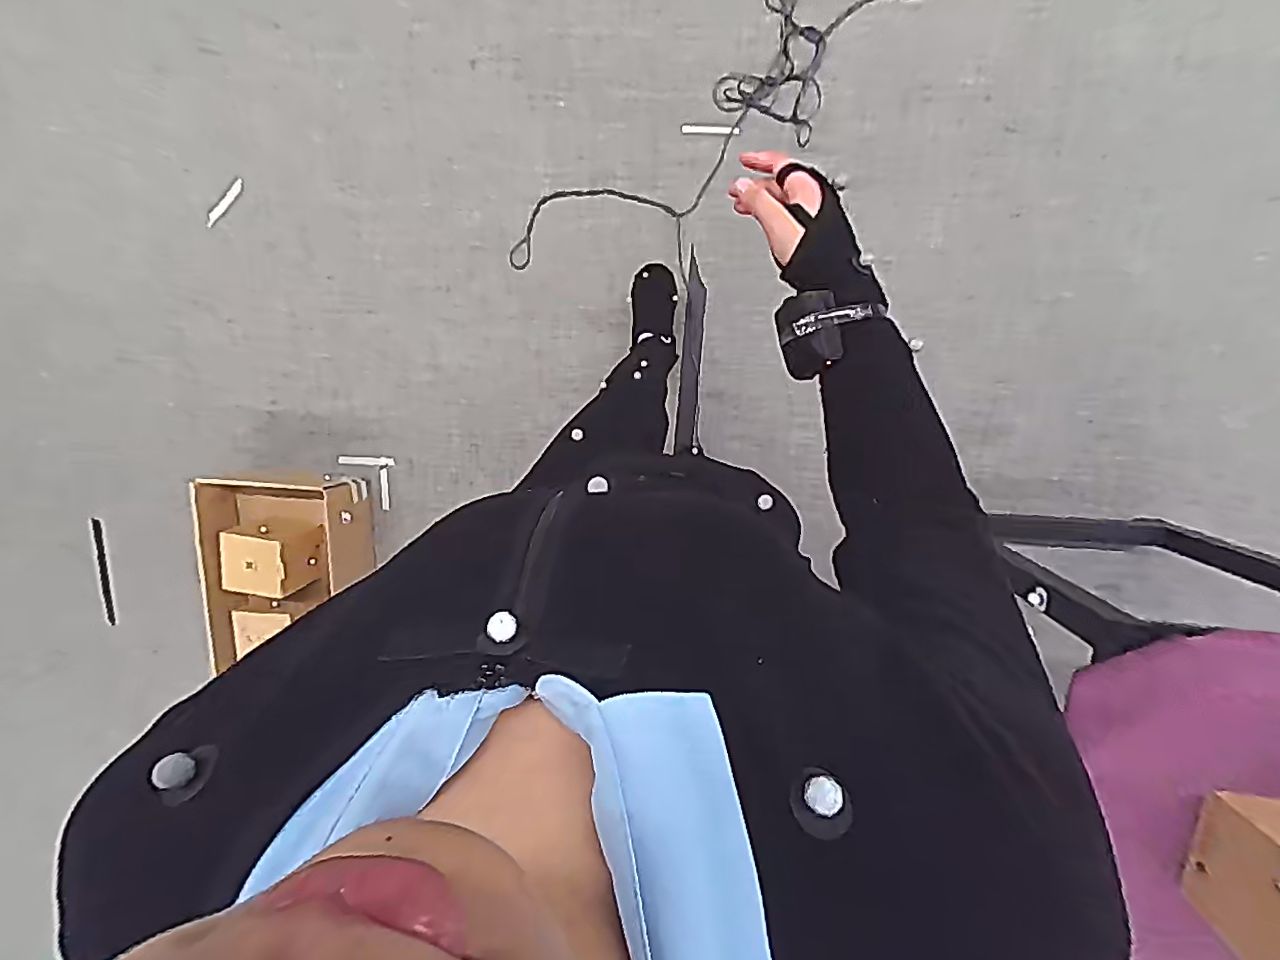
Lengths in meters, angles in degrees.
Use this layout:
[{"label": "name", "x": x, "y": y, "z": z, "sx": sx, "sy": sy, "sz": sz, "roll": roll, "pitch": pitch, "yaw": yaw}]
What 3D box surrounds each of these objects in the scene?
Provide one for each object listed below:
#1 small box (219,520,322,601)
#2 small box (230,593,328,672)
[{"label": "small box", "x": -1.034, "y": 0.218, "z": 1.518, "sx": 0.179, "sy": 0.176, "sz": 0.168, "roll": 9, "pitch": 102, "yaw": 5}, {"label": "small box", "x": -1.025, "y": 0.432, "z": 1.554, "sx": 0.179, "sy": 0.176, "sz": 0.168, "roll": 2, "pitch": 99, "yaw": 6}]
